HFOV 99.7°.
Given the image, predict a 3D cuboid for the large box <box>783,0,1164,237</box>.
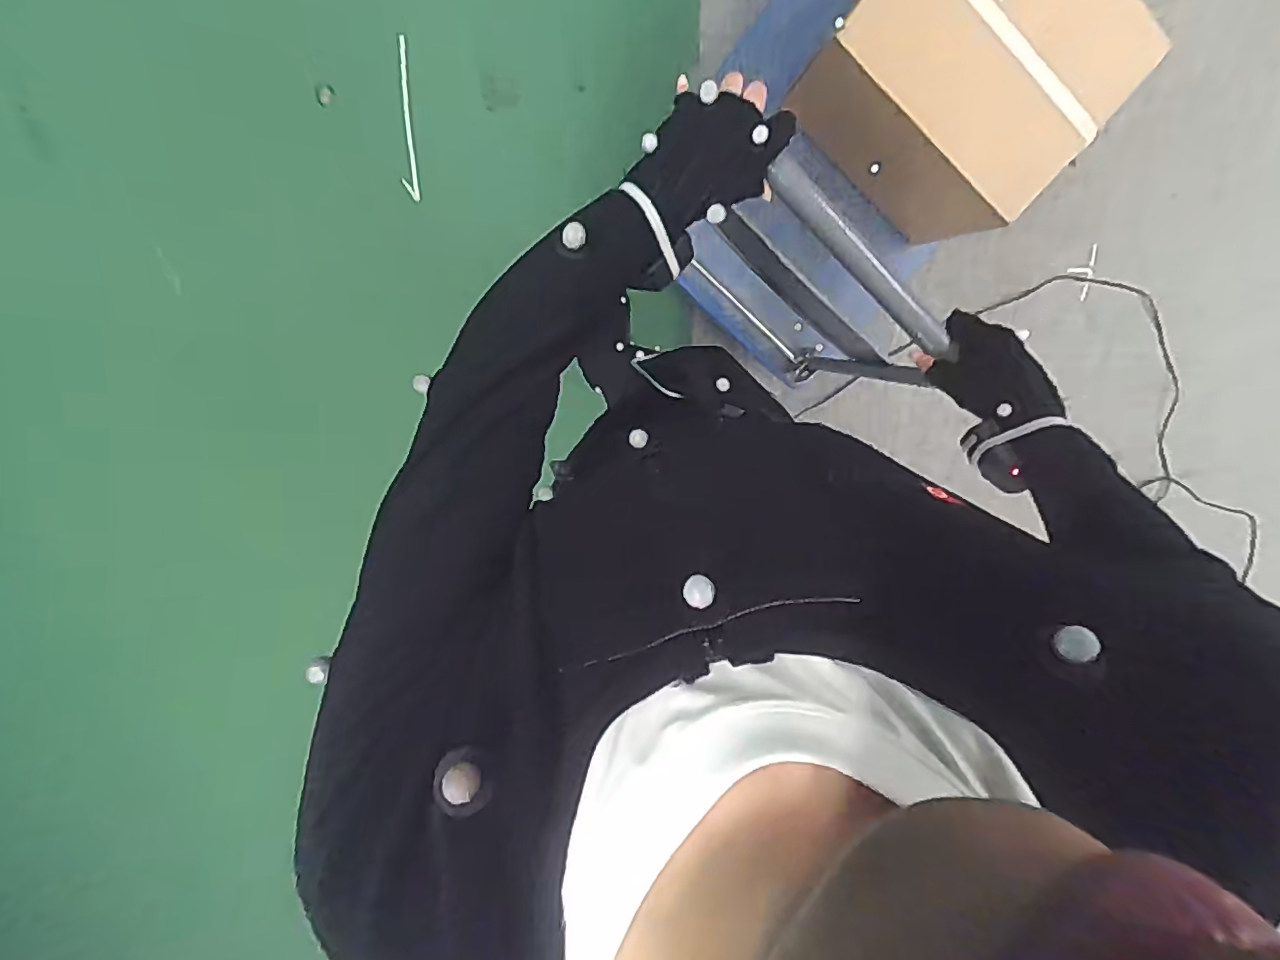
[{"bbox_3d":[0.529,-0.692,0.939,0.408,0.320,0.320,37,103,-11],"label":"large box"}]
